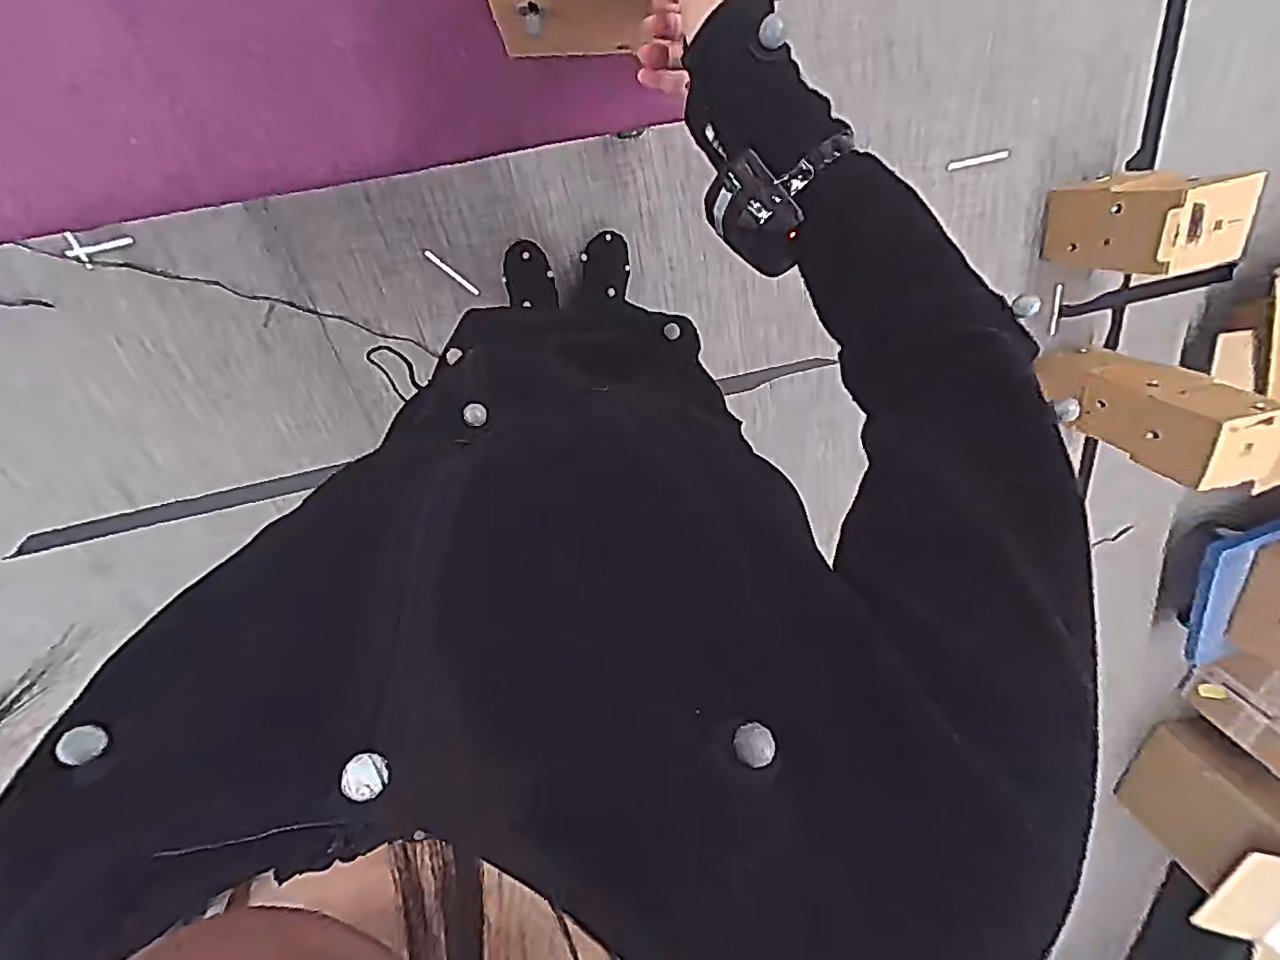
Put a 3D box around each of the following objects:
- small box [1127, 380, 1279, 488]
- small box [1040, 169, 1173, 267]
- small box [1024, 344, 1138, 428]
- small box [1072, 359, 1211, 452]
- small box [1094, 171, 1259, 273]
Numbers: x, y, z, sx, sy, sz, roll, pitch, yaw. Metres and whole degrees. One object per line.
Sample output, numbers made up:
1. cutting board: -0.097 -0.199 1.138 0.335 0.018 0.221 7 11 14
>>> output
1. small box: 1.283 -0.109 1.241 0.168 0.176 0.179 -11 120 -2
2. small box: 1.117 -0.636 1.312 0.168 0.176 0.179 -16 118 -2
3. small box: 1.230 -0.268 1.521 0.168 0.176 0.179 -10 119 -5
4. small box: 1.266 -0.196 1.379 0.179 0.176 0.168 -13 120 -2
5. small box: 1.143 -0.556 1.171 0.179 0.176 0.168 -14 119 -4
